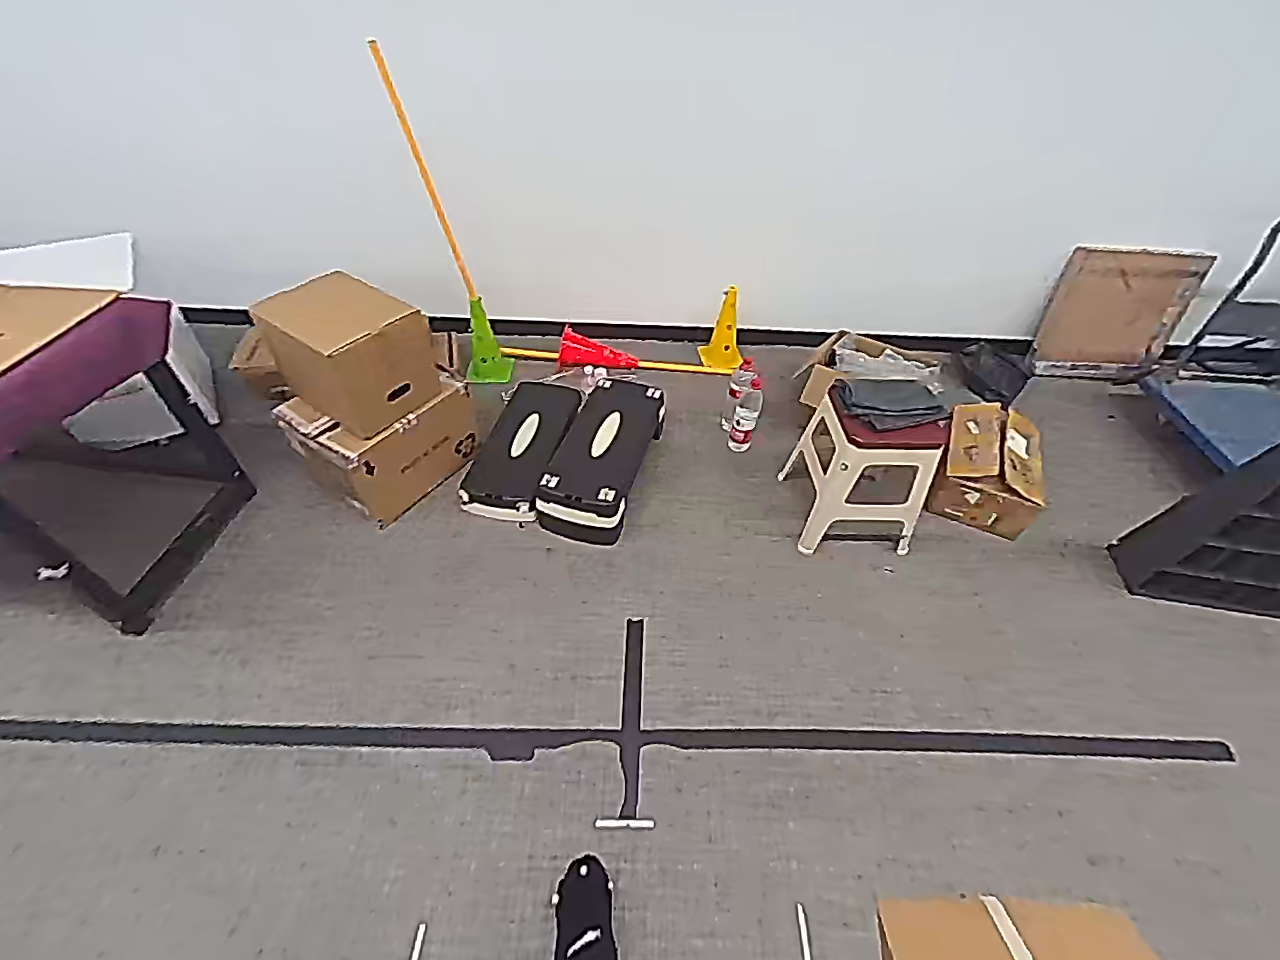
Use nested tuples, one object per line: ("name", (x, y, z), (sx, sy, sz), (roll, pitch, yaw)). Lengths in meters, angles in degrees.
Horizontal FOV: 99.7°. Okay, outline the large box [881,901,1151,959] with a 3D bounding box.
("large box", (0.481, 0.768, 0.581), (0.320, 0.320, 0.408), (-6, 3, 11))
